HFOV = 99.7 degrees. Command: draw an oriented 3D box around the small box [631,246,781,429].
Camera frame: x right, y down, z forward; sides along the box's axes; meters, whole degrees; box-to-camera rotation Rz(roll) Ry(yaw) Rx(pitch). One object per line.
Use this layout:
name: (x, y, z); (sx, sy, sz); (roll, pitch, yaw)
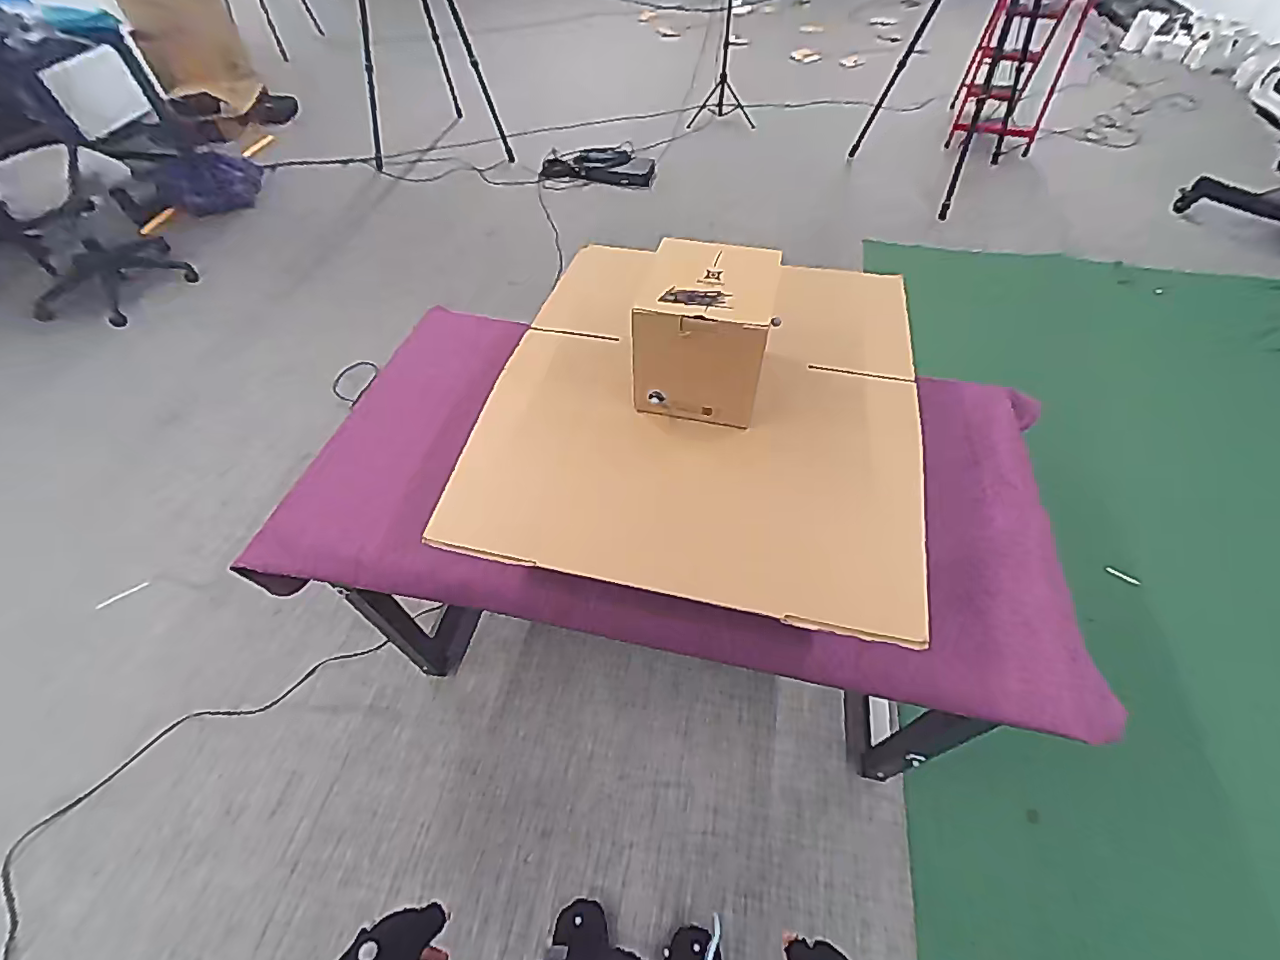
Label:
small box: (0.091, -0.194, 0.746); (0.168, 0.176, 0.179); (11, 52, 9)
